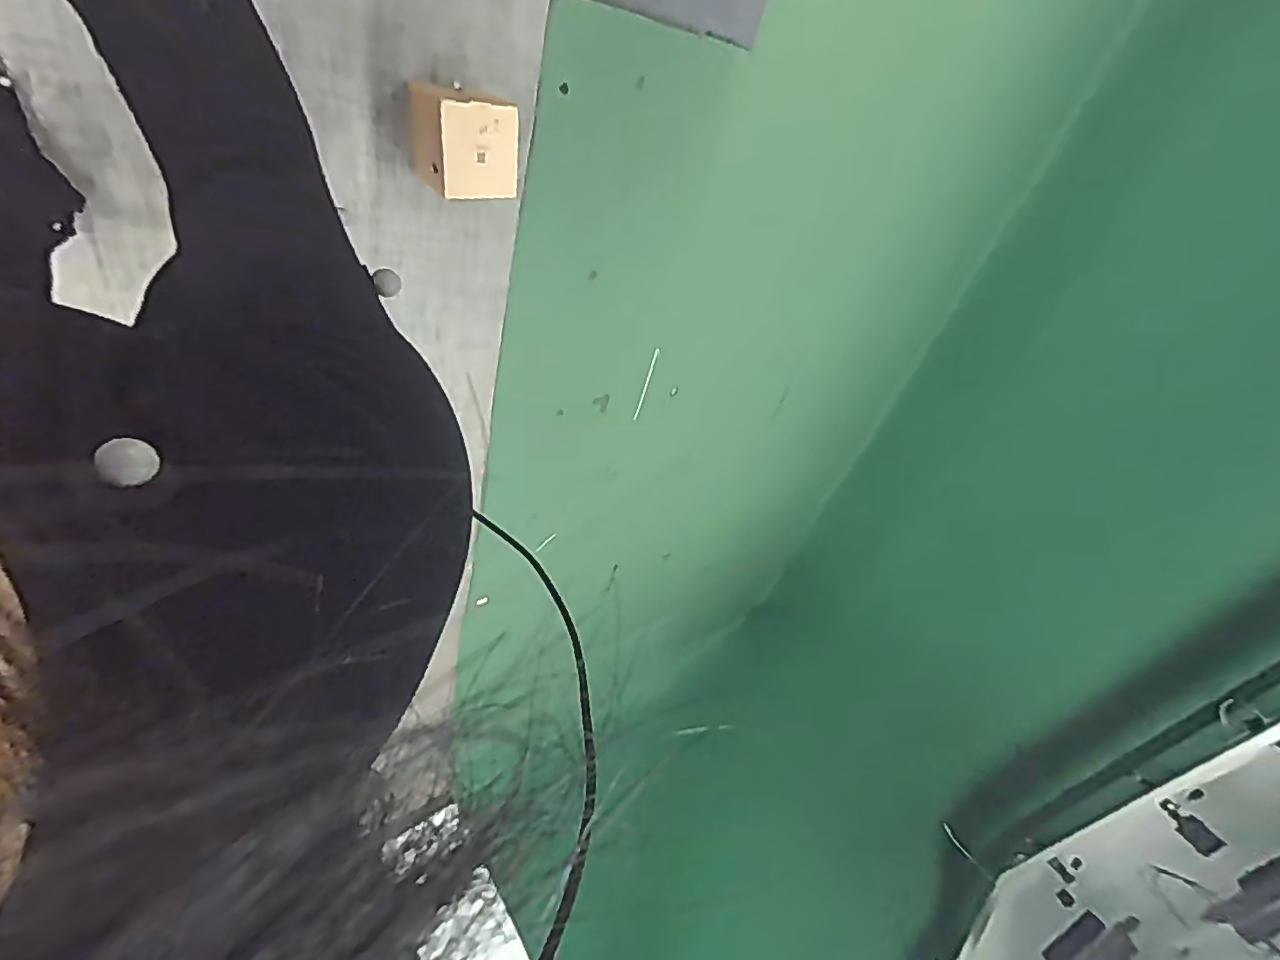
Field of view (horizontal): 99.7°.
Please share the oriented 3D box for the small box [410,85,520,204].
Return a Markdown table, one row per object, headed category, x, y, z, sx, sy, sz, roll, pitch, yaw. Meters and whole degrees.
| category | x | y | z | sx | sy | sz | roll | pitch | yaw |
| --- | --- | --- | --- | --- | --- | --- | --- | --- | --- |
| small box | -0.372 | -0.707 | 1.148 | 0.168 | 0.176 | 0.179 | -21 | 141 | -34 |
